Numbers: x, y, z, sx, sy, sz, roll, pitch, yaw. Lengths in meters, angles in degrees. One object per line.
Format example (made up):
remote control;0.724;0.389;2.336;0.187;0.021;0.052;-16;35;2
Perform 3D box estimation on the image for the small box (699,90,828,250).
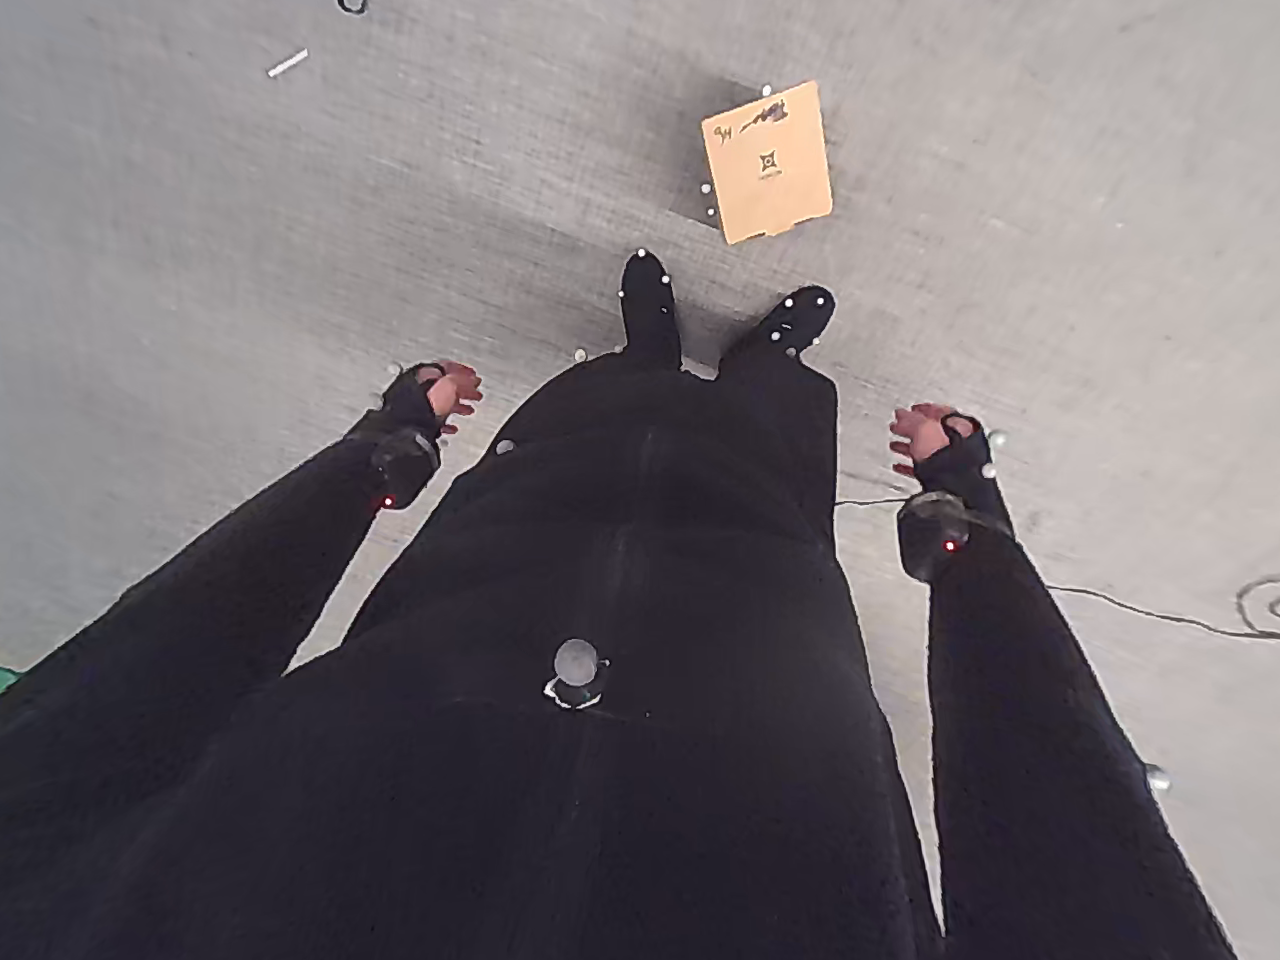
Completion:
small box;0.195;-0.495;0.875;0.168;0.176;0.179;-13;118;12
